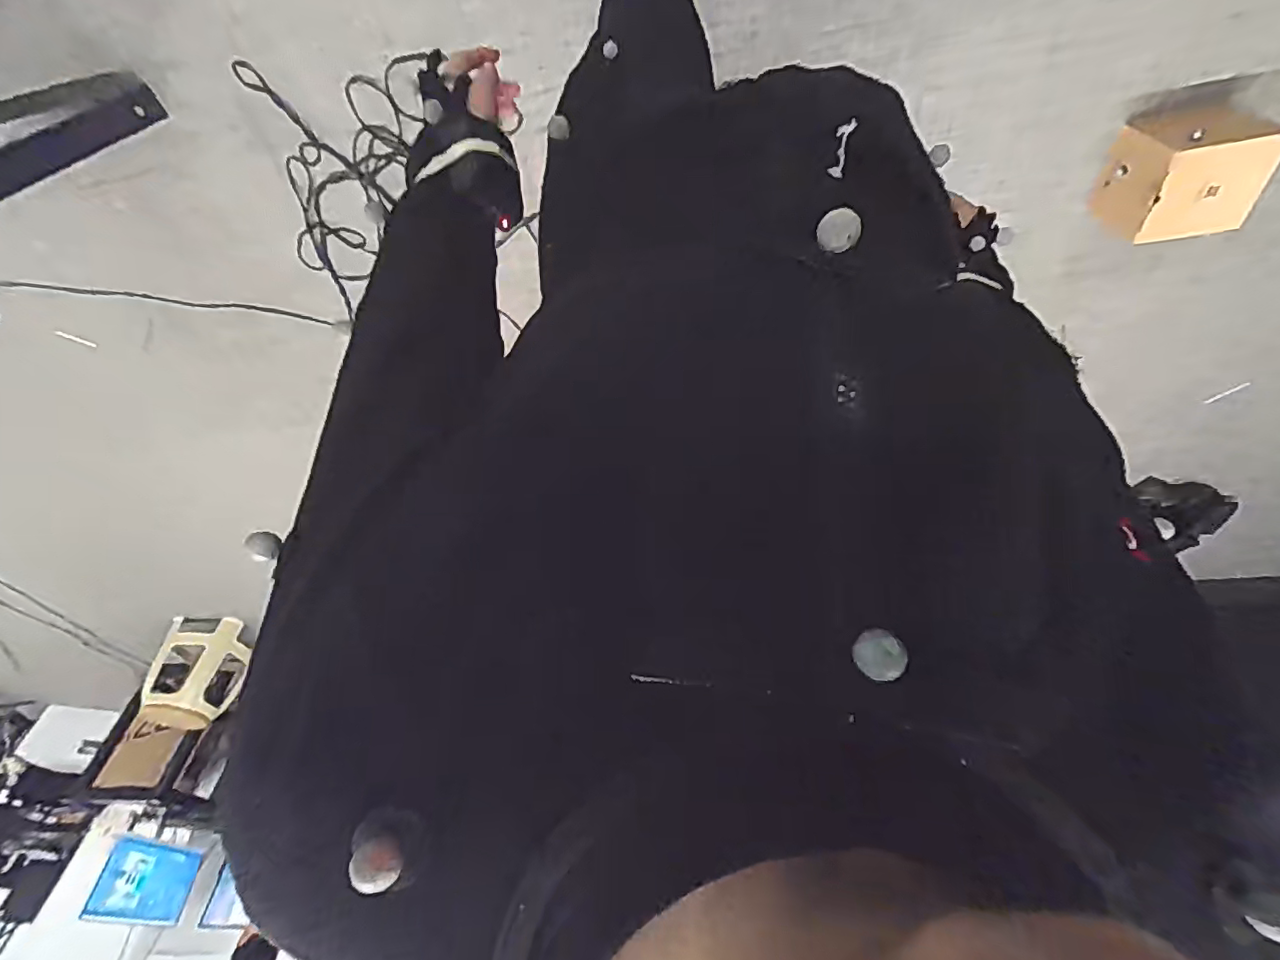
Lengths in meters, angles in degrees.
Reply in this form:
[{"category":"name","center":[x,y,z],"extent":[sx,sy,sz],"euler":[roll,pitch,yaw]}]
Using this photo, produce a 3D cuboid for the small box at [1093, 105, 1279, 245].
[{"category":"small box","center":[1.011,-0.569,1.007],"extent":[0.179,0.176,0.168],"euler":[-5,138,10]}]
